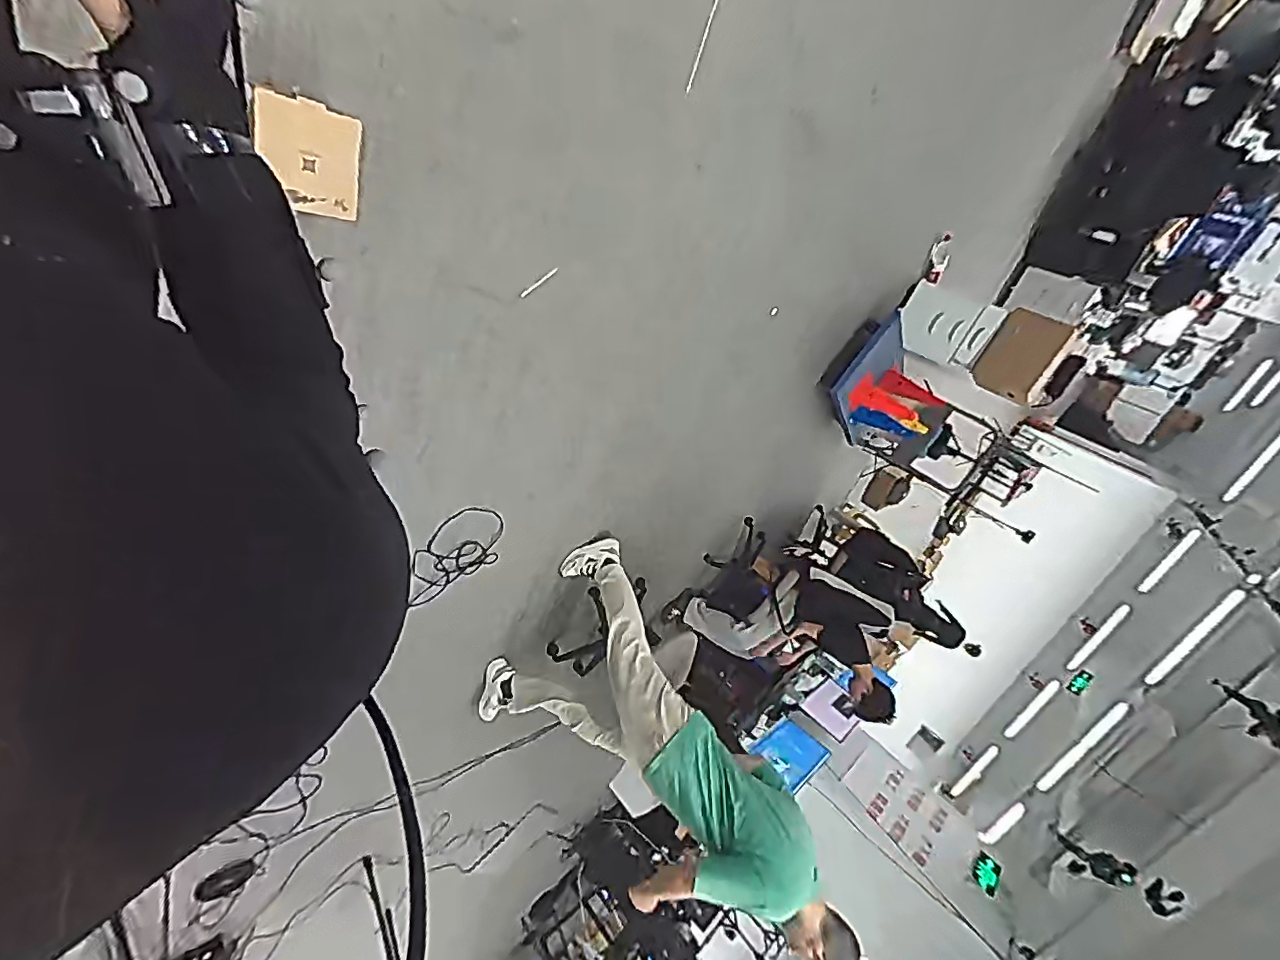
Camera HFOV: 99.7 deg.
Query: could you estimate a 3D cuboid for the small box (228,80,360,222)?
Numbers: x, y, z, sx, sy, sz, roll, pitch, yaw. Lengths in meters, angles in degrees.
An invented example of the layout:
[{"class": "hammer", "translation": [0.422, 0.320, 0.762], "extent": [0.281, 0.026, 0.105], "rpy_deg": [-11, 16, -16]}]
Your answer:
[{"class": "small box", "translation": [-0.634, -0.600, 0.989], "extent": [0.168, 0.176, 0.179], "rpy_deg": [-11, 129, -46]}]
